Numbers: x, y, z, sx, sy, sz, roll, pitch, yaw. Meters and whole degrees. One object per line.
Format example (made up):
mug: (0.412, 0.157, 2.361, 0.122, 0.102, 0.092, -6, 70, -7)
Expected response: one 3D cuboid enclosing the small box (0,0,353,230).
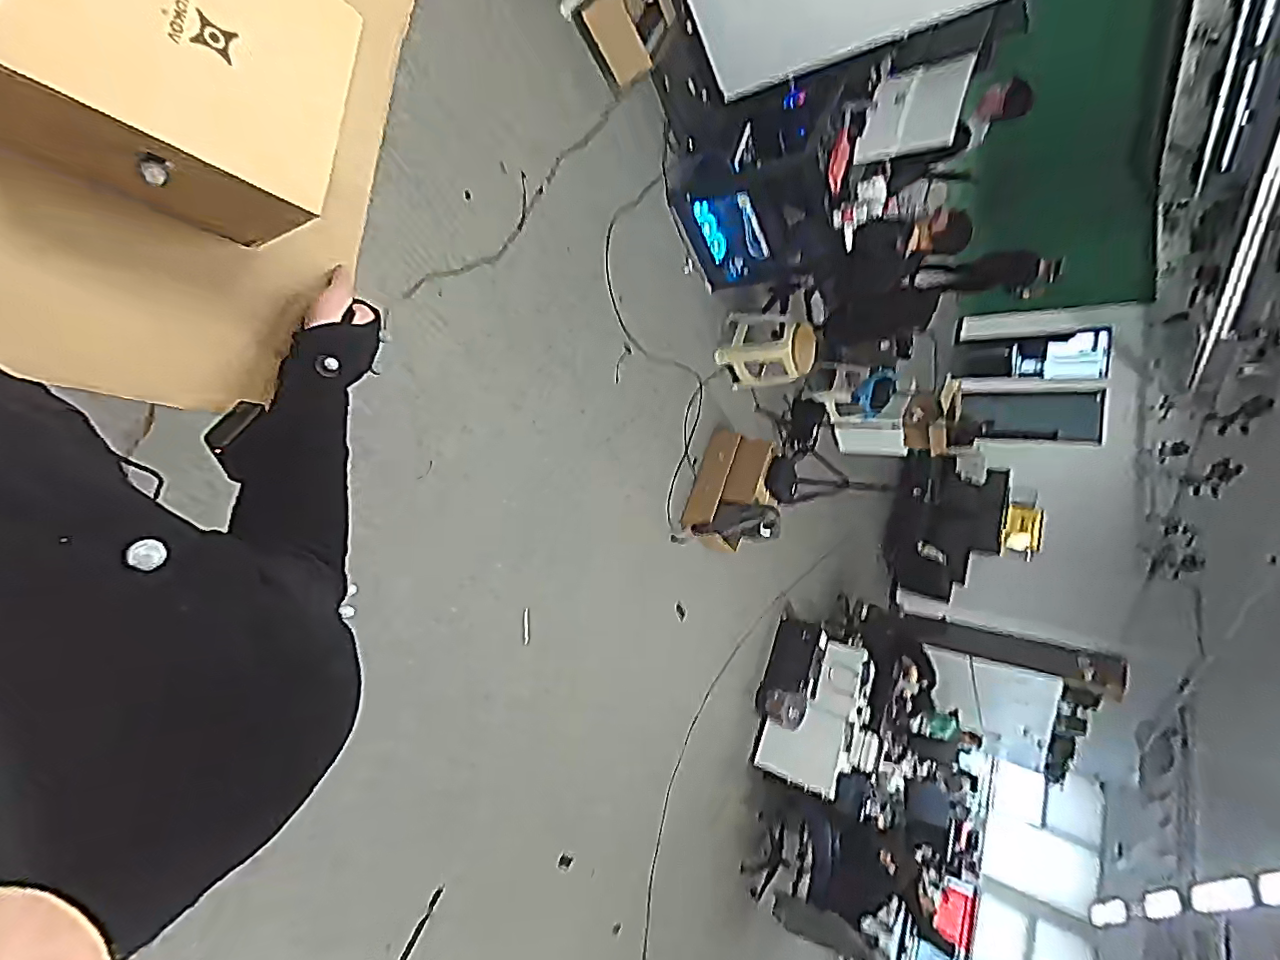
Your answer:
small box: (-0.361, -0.316, 0.420, 0.179, 0.176, 0.168, 11, 89, -50)
